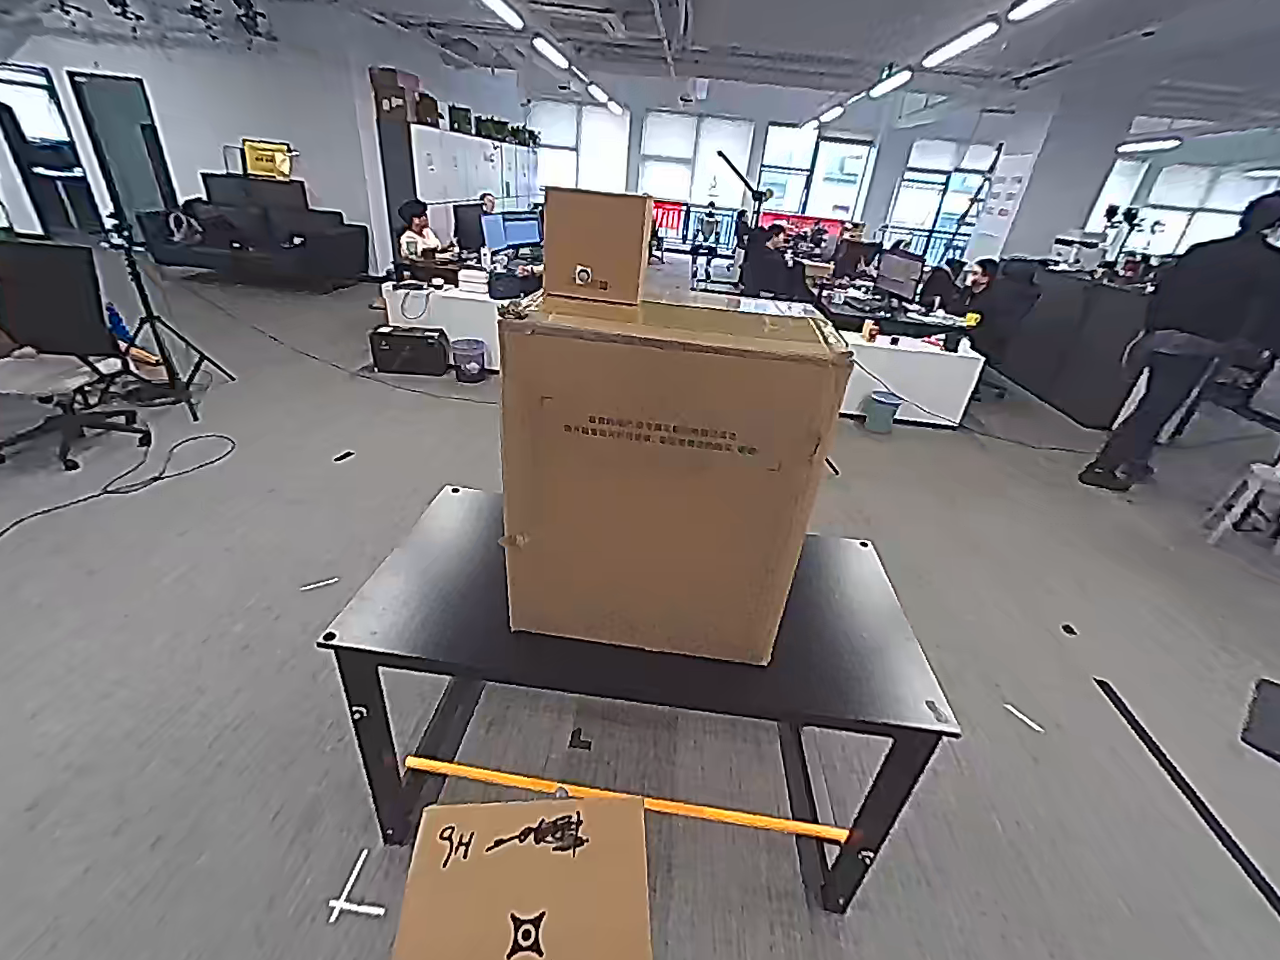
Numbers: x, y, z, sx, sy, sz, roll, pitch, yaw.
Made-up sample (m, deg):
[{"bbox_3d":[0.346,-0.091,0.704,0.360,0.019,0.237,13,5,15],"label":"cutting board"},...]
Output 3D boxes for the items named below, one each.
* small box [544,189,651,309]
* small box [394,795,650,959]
[{"bbox_3d":[-0.073,-0.409,0.953,0.168,0.176,0.179,5,28,1],"label":"small box"},{"bbox_3d":[-0.077,0.359,0.403,0.168,0.176,0.179,0,44,-4],"label":"small box"}]
